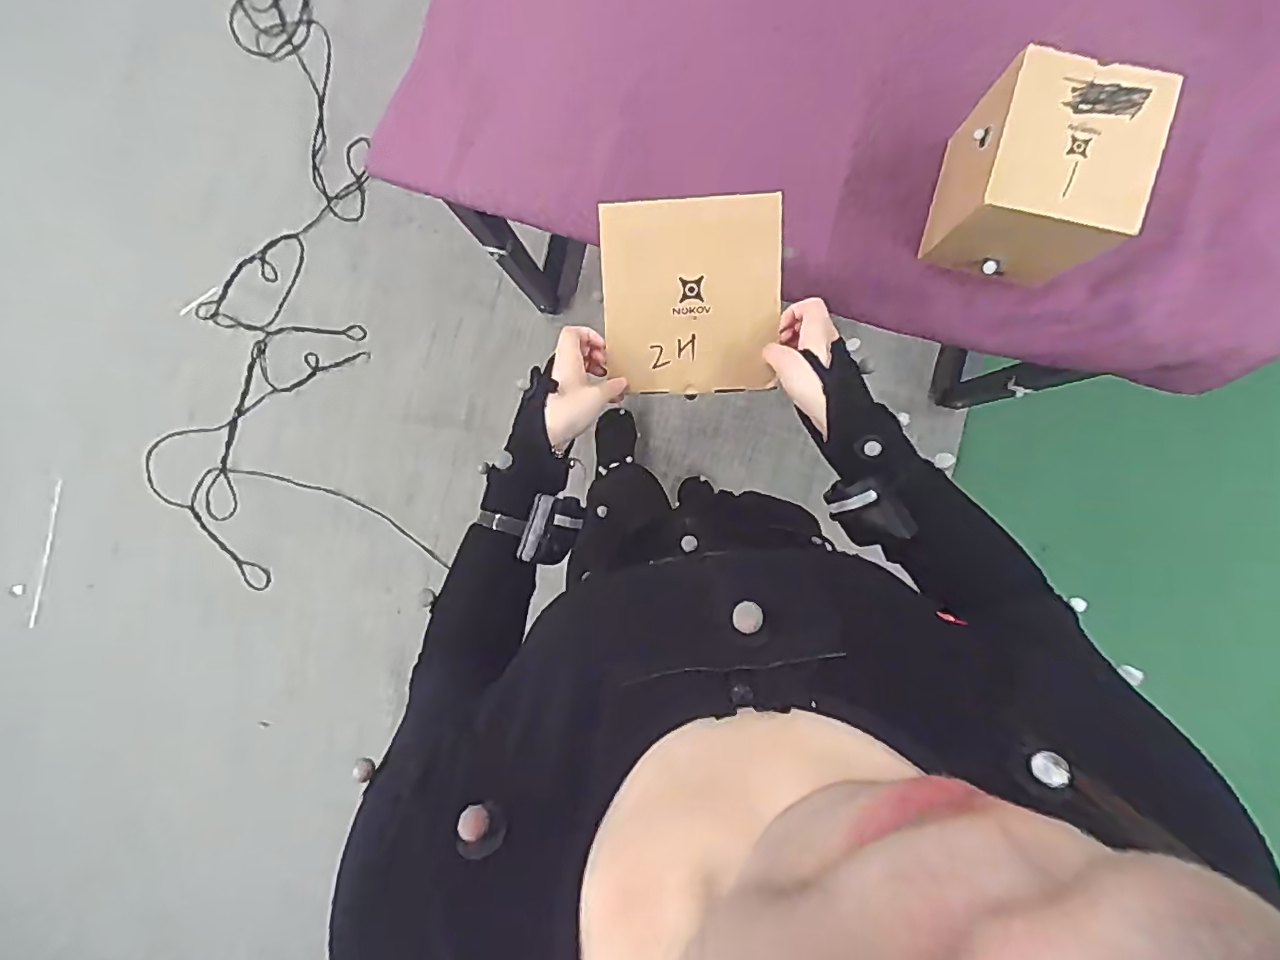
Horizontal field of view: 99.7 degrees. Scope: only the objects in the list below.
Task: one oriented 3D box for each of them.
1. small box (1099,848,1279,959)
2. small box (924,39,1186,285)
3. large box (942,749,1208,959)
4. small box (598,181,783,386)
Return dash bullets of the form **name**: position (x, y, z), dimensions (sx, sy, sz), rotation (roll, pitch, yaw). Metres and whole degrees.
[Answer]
- **small box**: position (1.050, 0.854, 1.034), dimensions (0.179, 0.176, 0.168), rotation (16, 93, 4)
- **small box**: position (0.471, -0.360, 0.645), dimensions (0.168, 0.176, 0.179), rotation (15, 92, 4)
- **large box**: position (0.991, 0.939, 1.283), dimensions (0.320, 0.320, 0.408), rotation (16, 93, 5)
- **small box**: position (0.050, -0.192, 0.568), dimensions (0.168, 0.176, 0.179), rotation (0, 104, 6)
